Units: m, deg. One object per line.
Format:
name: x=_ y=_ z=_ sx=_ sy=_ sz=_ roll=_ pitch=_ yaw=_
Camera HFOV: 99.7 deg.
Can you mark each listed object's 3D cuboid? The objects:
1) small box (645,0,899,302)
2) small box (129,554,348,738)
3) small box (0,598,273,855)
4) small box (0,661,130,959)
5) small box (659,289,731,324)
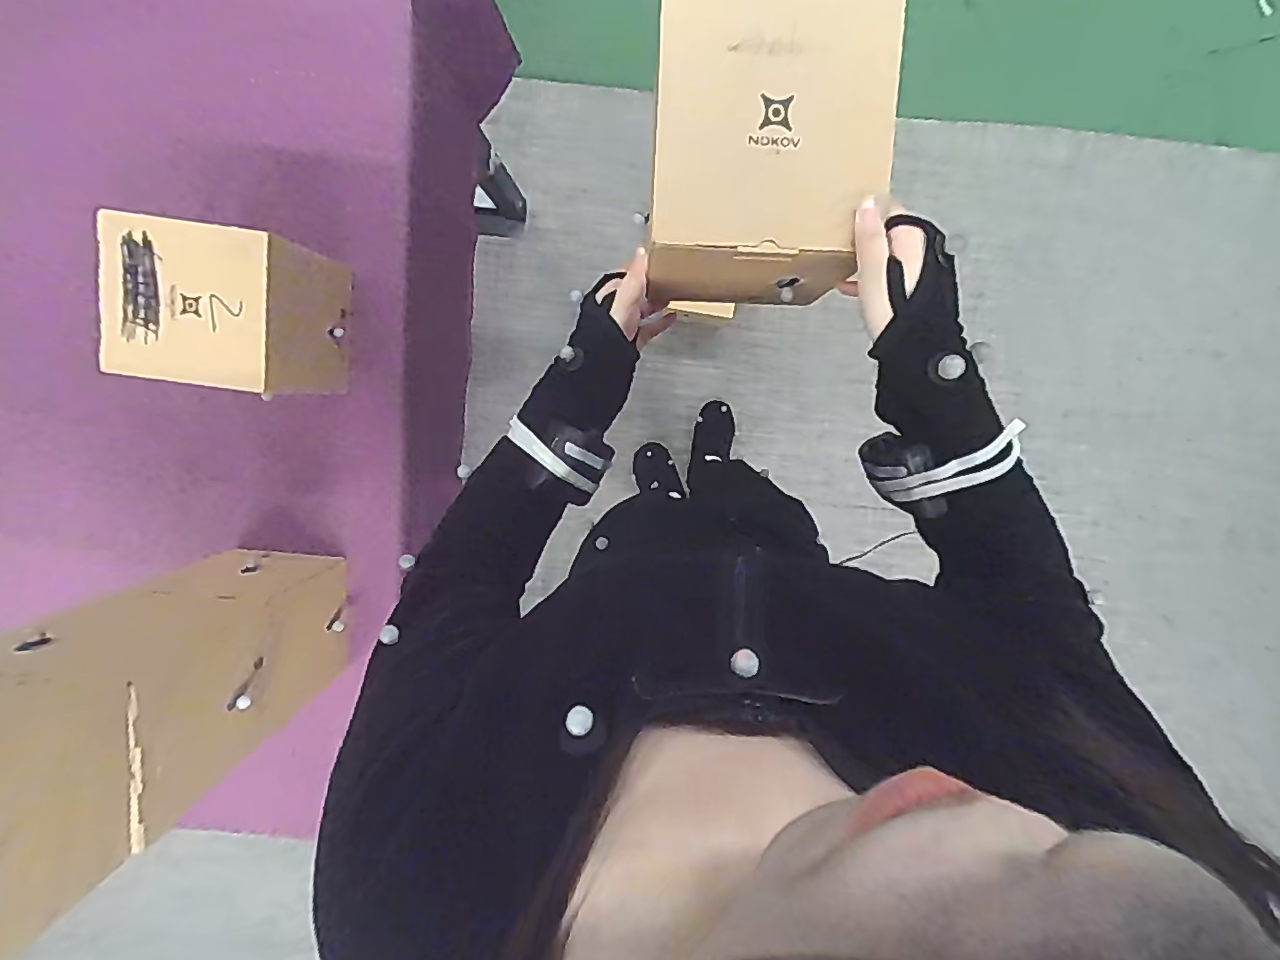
small box: x=0.091 y=-0.256 z=0.457 sx=0.168 sy=0.176 sz=0.179 roll=2 pitch=96 yaw=-1
small box: x=-0.507 y=0.204 z=0.707 sx=0.168 sy=0.176 sz=0.179 roll=4 pitch=98 yaw=0
small box: x=-0.512 y=0.229 z=0.544 sx=0.179 sy=0.176 sz=0.168 roll=6 pitch=100 yaw=-1
small box: x=-0.514 y=0.250 z=0.380 sx=0.168 sy=0.176 sz=0.179 roll=7 pitch=98 yaw=-1
small box: x=0.141 y=-0.492 z=1.333 sx=0.168 sy=0.176 sz=0.179 roll=9 pitch=98 yaw=-2
